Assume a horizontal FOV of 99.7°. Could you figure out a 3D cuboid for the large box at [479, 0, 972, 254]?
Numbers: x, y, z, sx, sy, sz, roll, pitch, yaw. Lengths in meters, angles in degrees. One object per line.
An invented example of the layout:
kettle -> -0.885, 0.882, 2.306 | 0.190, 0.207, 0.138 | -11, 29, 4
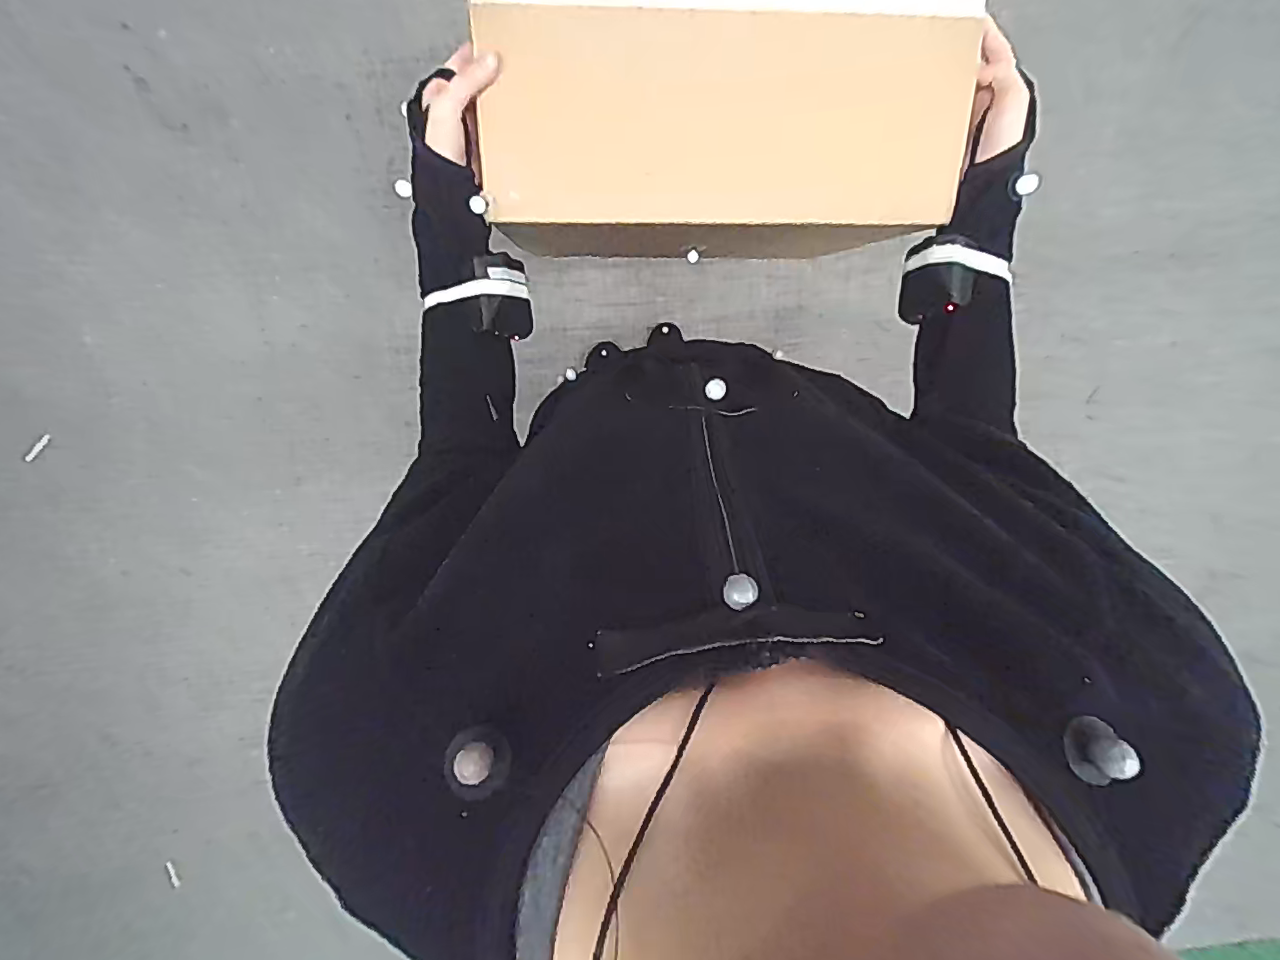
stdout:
large box -> 0.065, -0.419, 0.573 | 0.408, 0.320, 0.320 | -2, 107, -3
